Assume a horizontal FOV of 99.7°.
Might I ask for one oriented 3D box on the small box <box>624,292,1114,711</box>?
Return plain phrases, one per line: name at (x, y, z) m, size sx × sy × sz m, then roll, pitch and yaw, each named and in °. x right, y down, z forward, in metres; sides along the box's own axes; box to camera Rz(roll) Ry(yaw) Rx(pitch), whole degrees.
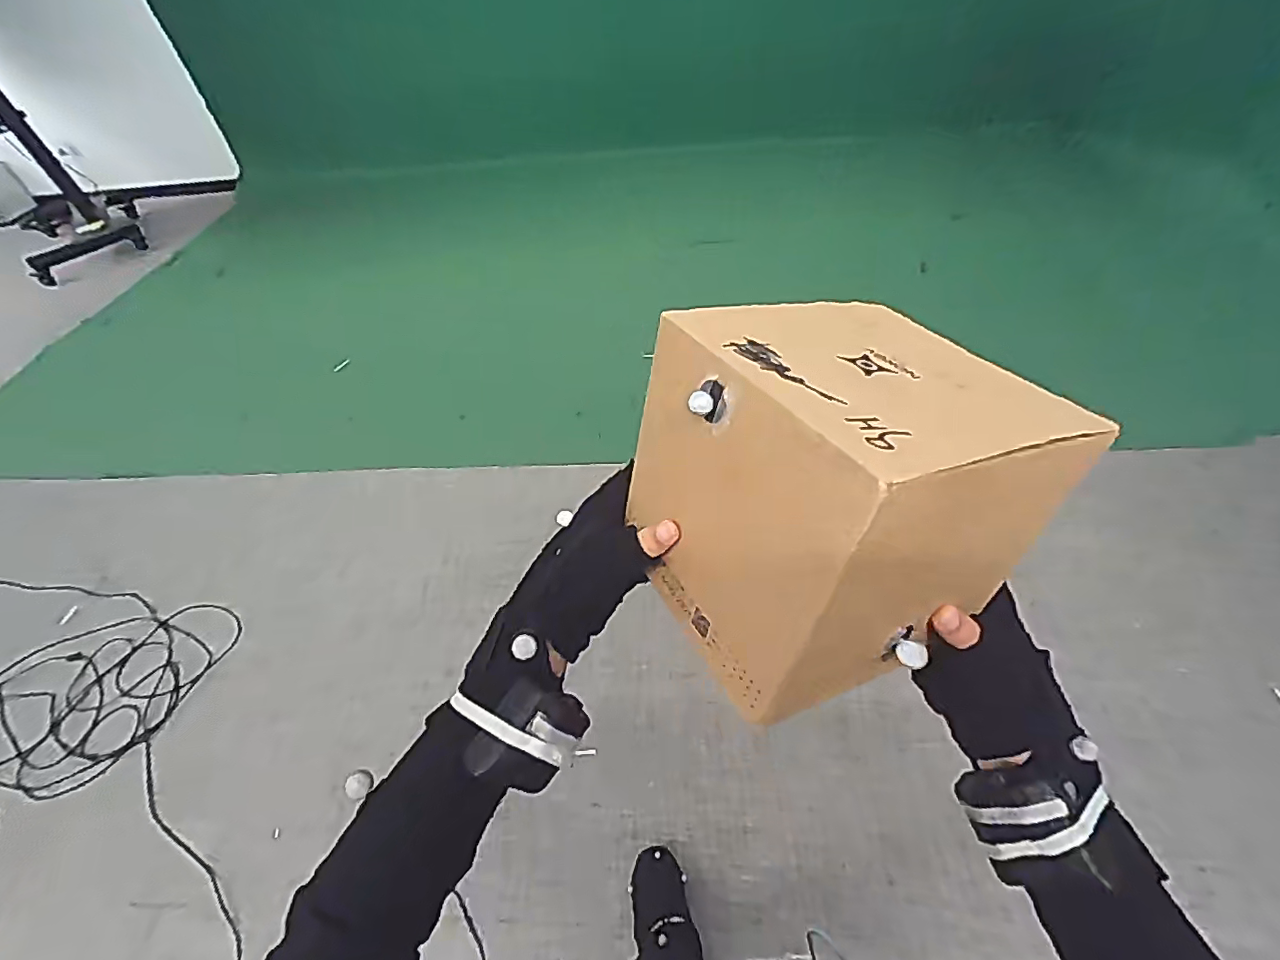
small box at (0.109, 0.001, 0.325) m, size 0.179 × 0.176 × 0.168 m, roll -10°, pitch 41°, yaw -27°
